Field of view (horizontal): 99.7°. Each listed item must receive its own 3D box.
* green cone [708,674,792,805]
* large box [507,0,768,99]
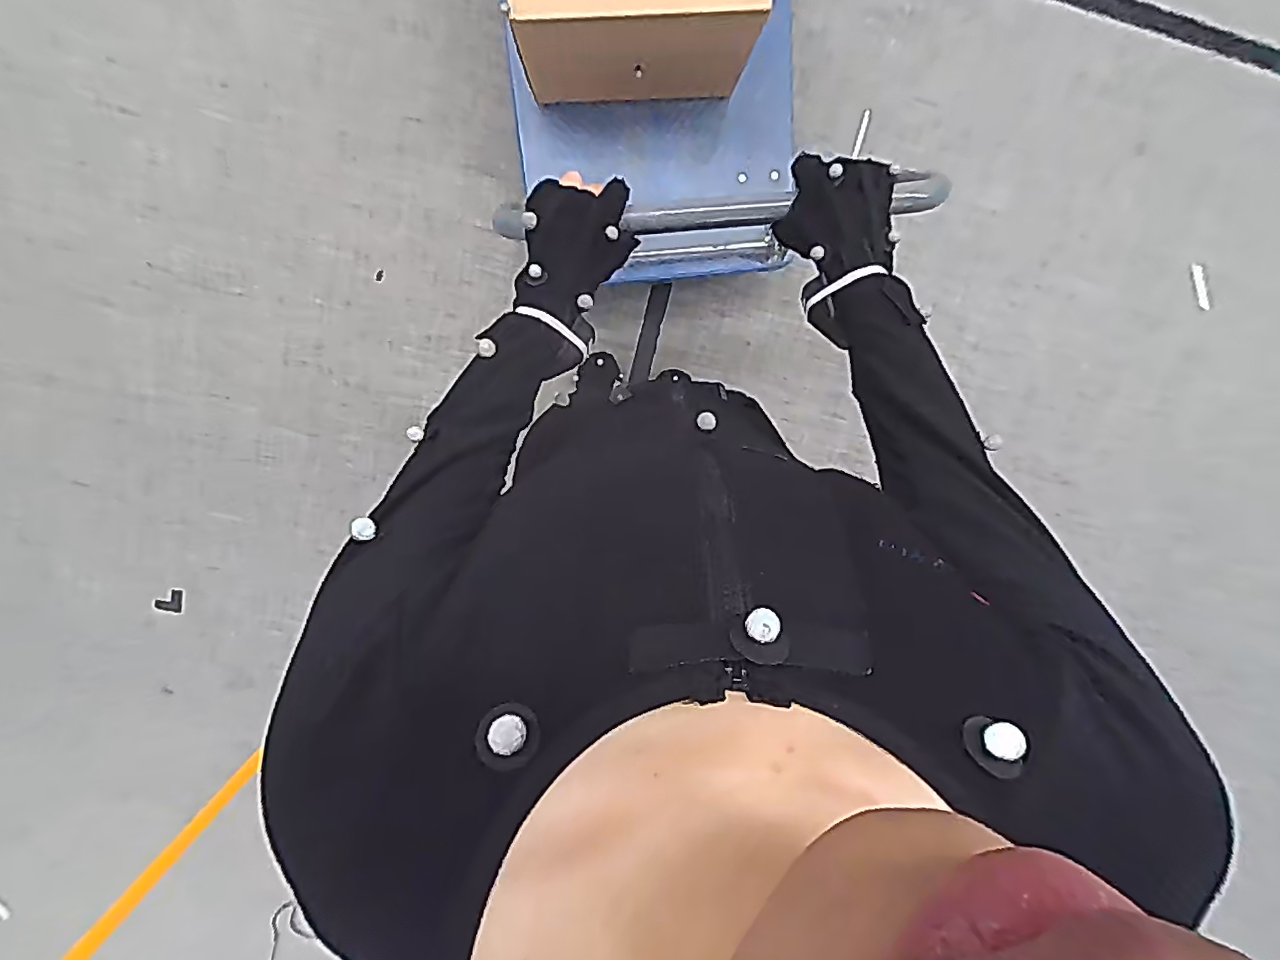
[{"bbox_3d":[0.339,0.745,1.509,0.202,0.368,0.200,16,103,-8],"label":"green cone"},{"bbox_3d":[-0.014,-0.897,0.928,0.408,0.320,0.320,-3,105,-1],"label":"large box"}]
